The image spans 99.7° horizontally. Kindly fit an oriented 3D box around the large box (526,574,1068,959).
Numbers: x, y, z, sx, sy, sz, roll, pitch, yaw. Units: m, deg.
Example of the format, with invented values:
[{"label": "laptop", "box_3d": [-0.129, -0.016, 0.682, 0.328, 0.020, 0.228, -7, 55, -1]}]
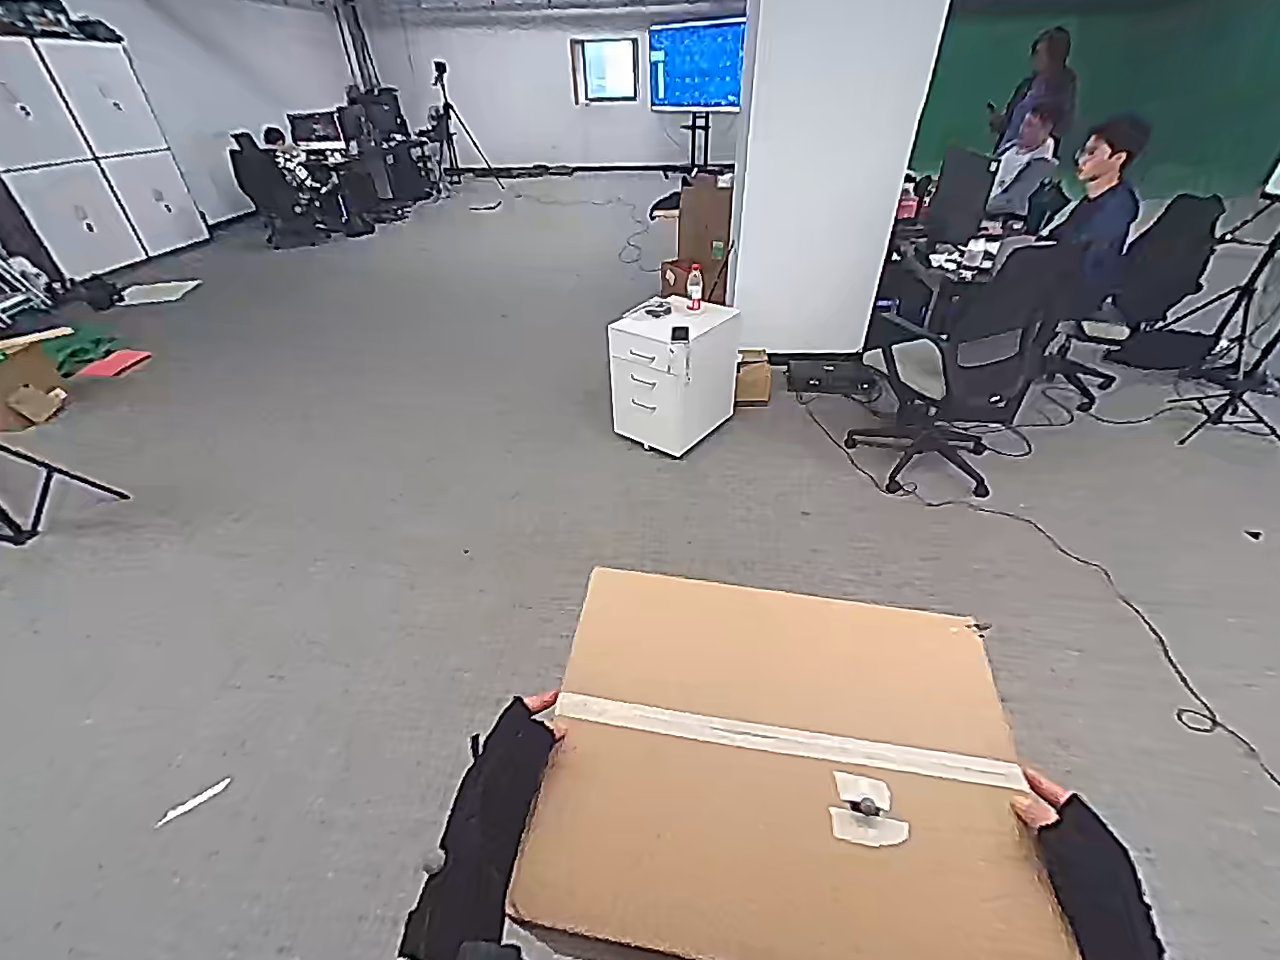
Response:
[{"label": "large box", "box_3d": [0.127, 0.339, 0.596, 0.408, 0.320, 0.320, 7, 47, 6]}]
